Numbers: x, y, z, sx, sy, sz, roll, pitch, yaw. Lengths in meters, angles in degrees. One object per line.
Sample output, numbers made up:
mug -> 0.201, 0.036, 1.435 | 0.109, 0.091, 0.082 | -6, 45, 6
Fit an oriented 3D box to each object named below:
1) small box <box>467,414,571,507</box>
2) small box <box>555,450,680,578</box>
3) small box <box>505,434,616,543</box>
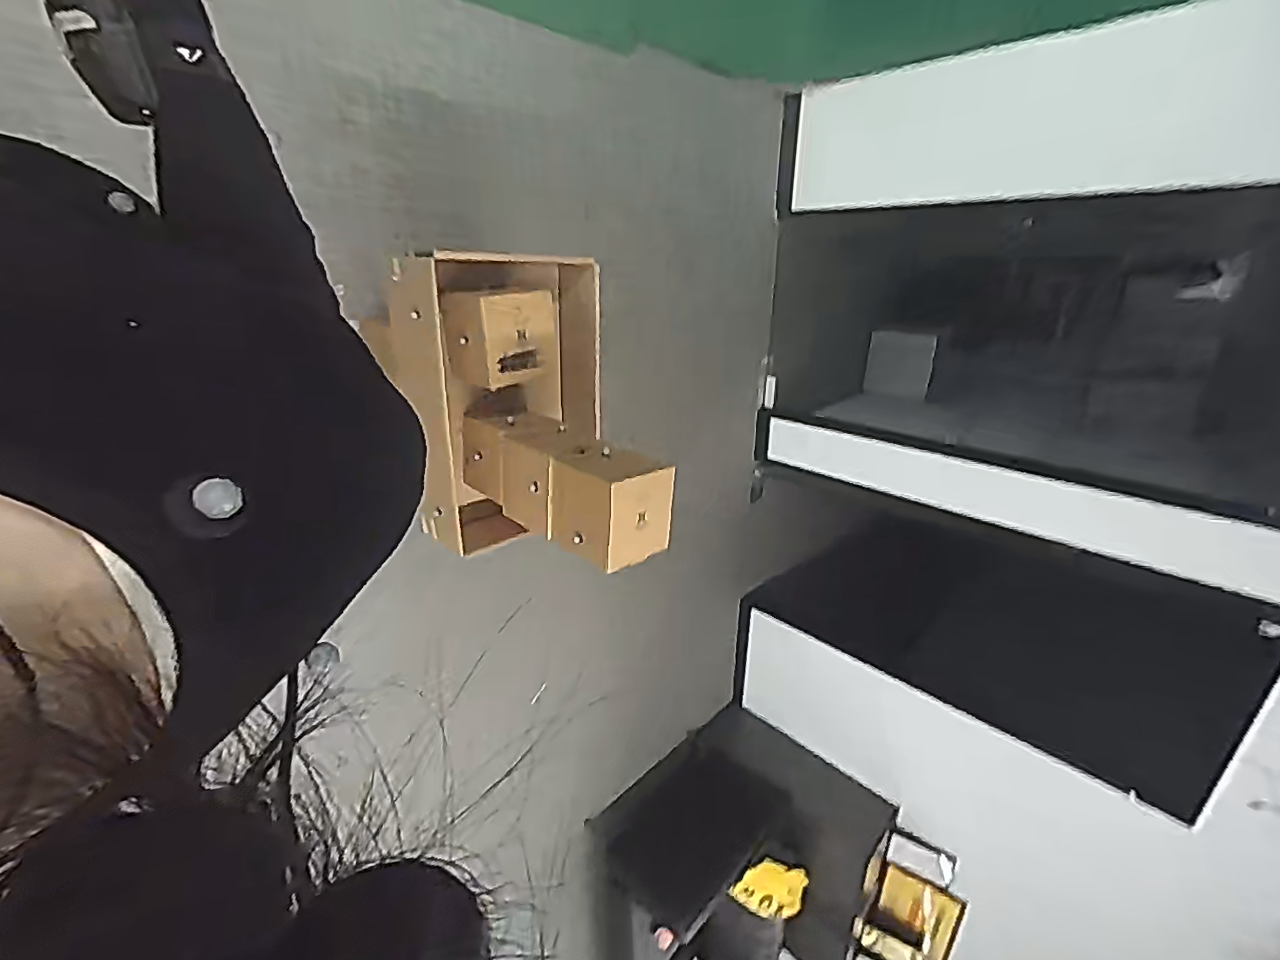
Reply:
small box -> -0.280, -0.051, 1.230 | 0.179, 0.176, 0.168 | -12, 114, -44
small box -> -0.047, 0.056, 1.026 | 0.168, 0.176, 0.179 | -14, 116, -43
small box -> -0.168, 0.007, 1.125 | 0.168, 0.176, 0.179 | -13, 116, -43
